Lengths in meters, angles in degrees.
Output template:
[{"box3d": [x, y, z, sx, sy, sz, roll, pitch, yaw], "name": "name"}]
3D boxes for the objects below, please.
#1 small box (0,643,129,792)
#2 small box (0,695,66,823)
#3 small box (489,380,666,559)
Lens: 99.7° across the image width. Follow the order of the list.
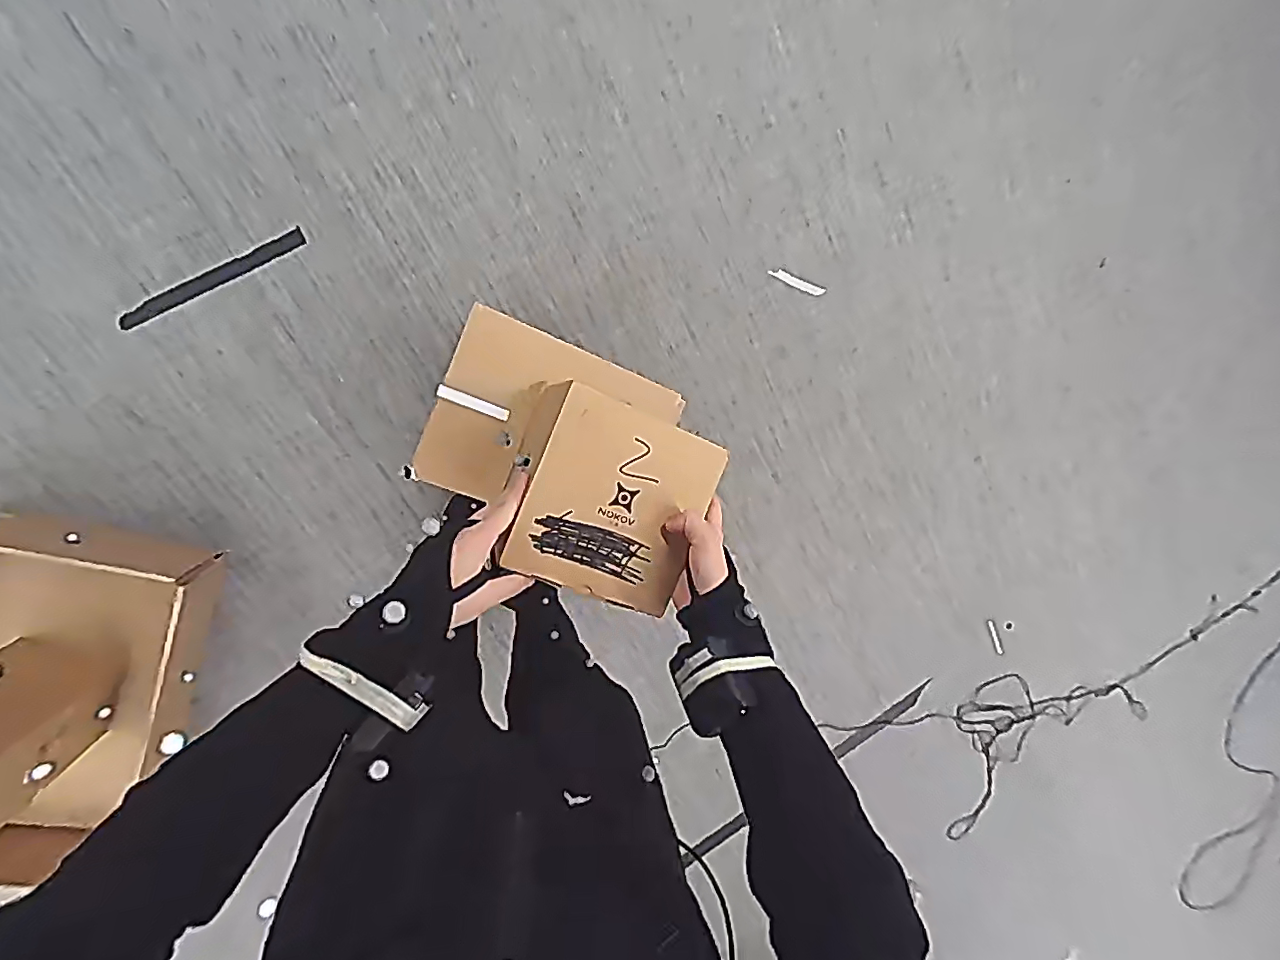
[{"box3d": [-1.073, 0.408, 0.952, 0.179, 0.176, 0.168, 19, 94, -19], "name": "small box"}, {"box3d": [-1.030, 0.433, 0.798, 0.179, 0.176, 0.168, 18, 95, -19], "name": "small box"}, {"box3d": [-0.092, -0.020, 0.719, 0.168, 0.176, 0.179, 21, 92, -20], "name": "small box"}]
